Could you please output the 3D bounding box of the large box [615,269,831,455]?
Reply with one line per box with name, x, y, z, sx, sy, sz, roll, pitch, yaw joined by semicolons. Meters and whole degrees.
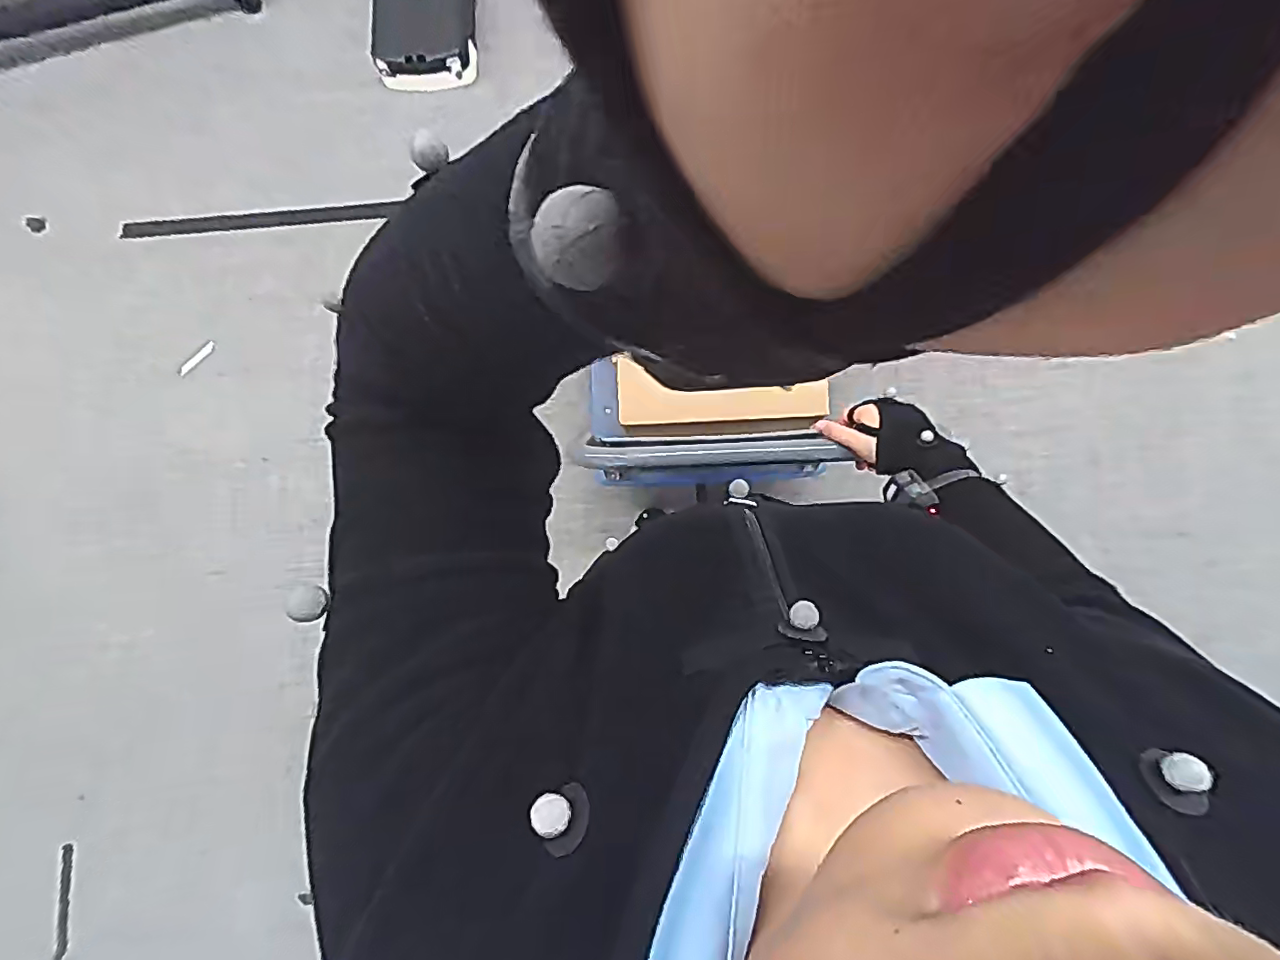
large box;0.160;-0.235;1.189;0.408;0.320;0.320;-3;86;1
